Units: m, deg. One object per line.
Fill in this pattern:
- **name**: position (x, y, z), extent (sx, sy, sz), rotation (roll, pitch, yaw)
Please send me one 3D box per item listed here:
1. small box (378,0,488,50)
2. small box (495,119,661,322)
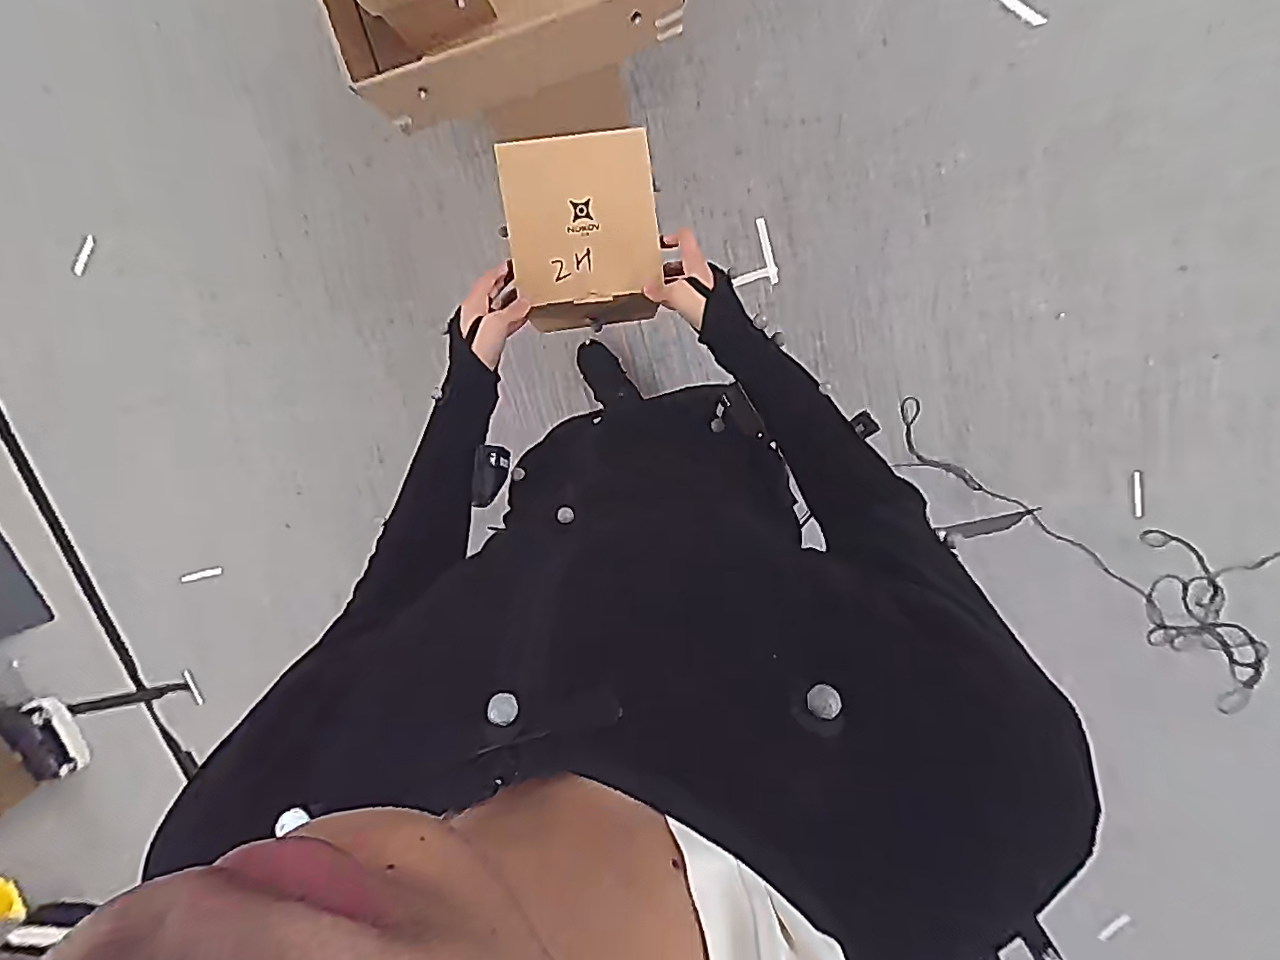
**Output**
- **small box**: position (-0.383, -0.904, 0.934), extent (0.179, 0.176, 0.168), rotation (-19, 101, 9)
- **small box**: position (-0.071, -0.302, 0.664), extent (0.168, 0.176, 0.179), rotation (-7, 99, -2)
